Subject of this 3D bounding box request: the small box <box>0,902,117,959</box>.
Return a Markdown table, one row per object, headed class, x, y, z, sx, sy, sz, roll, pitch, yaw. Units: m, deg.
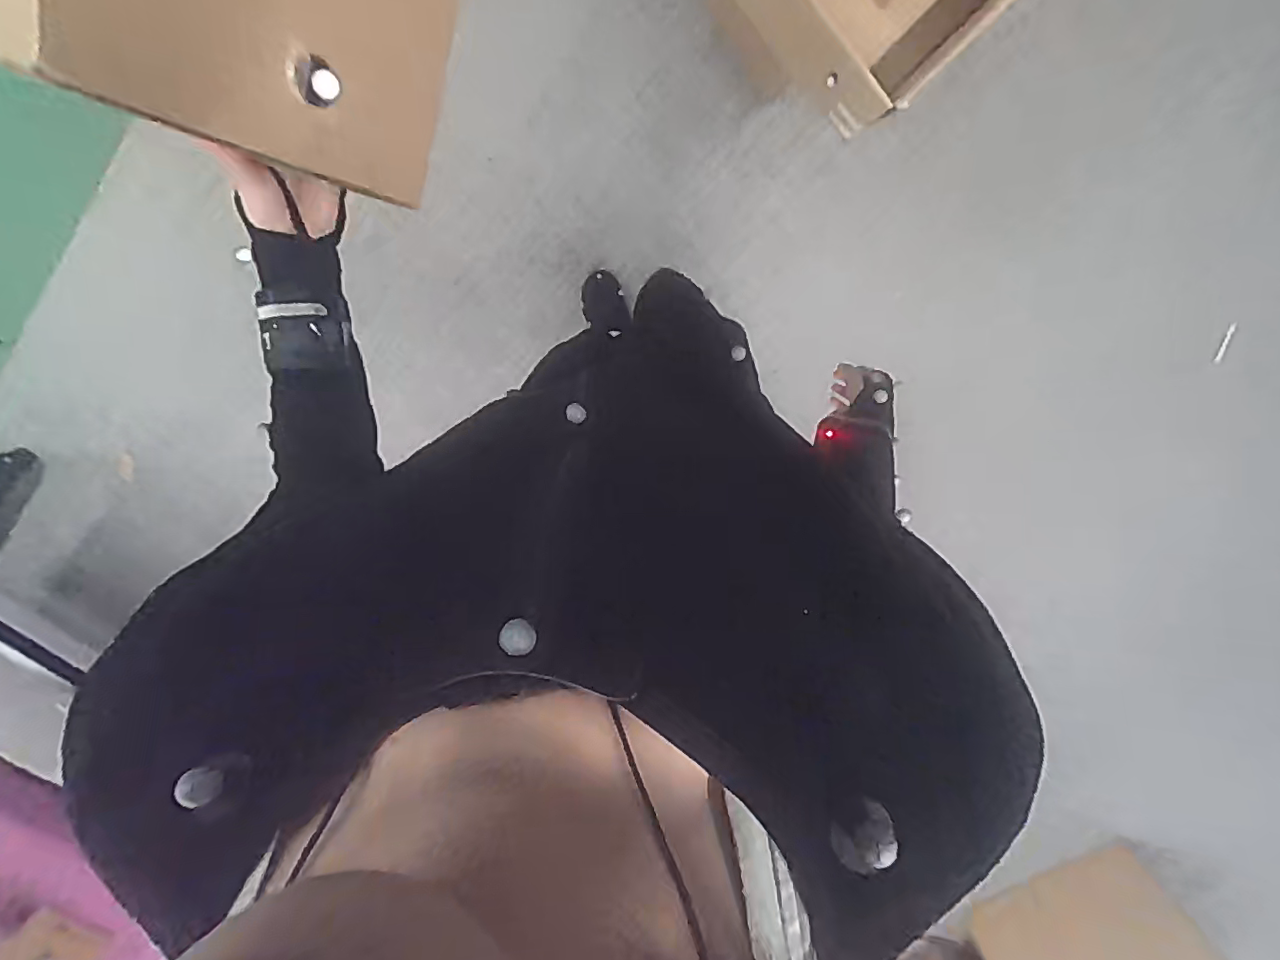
| class | x | y | z | sx | sy | sz | roll | pitch | yaw |
| --- | --- | --- | --- | --- | --- | --- | --- | --- | --- |
| small box | -1.282 | 1.049 | 1.146 | 0.179 | 0.176 | 0.168 | -41 | 105 | 15 |
